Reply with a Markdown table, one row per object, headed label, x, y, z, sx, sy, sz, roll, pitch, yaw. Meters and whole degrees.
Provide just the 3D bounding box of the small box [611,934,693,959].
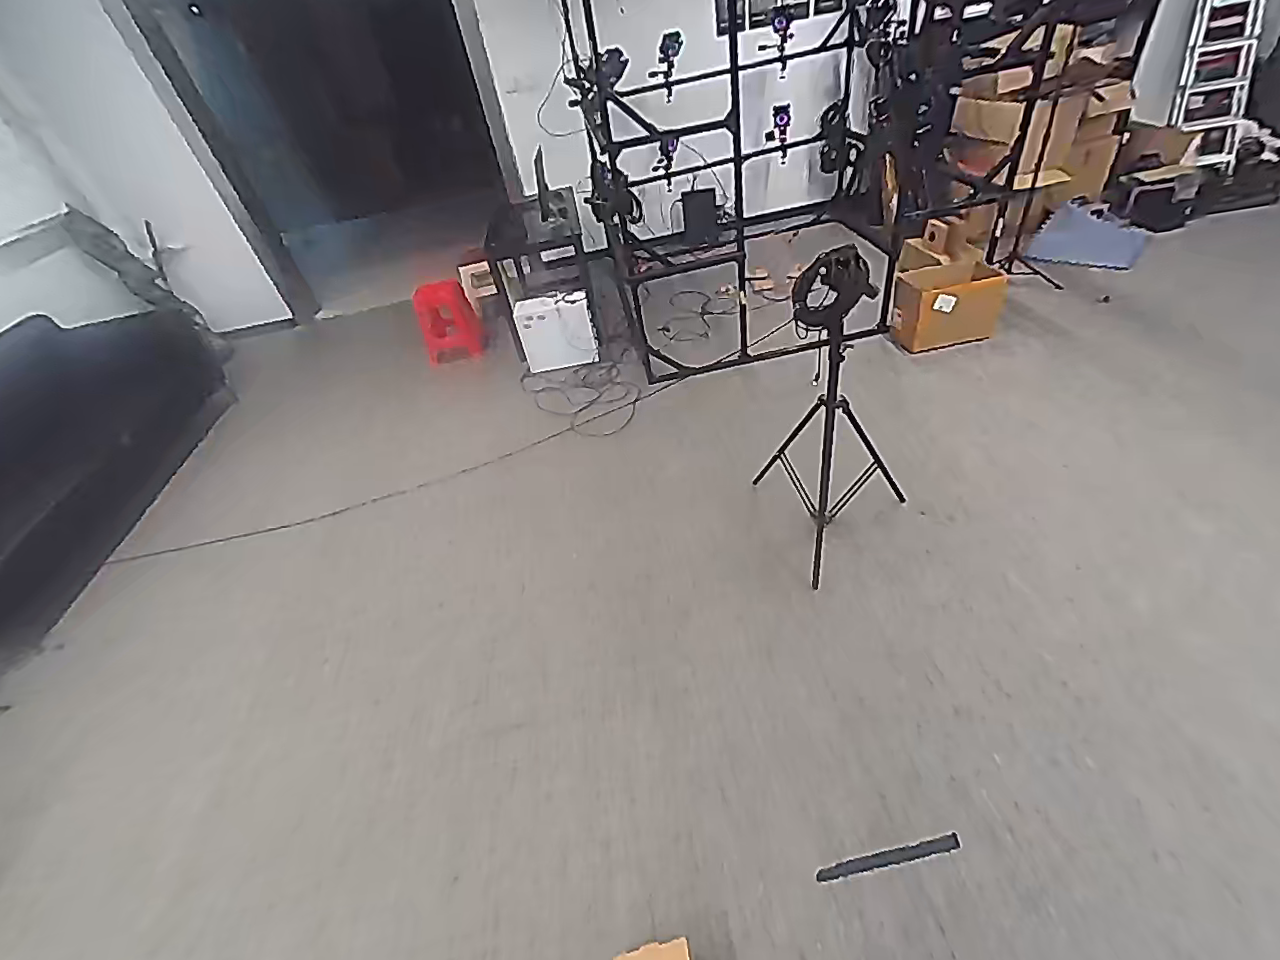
| label | x | y | z | sx | sy | sz | roll | pitch | yaw |
| --- | --- | --- | --- | --- | --- | --- | --- | --- | --- |
| small box | 0.041 | 1.106 | 1.142 | 0.168 | 0.176 | 0.179 | -14 | 40 | 0 |
